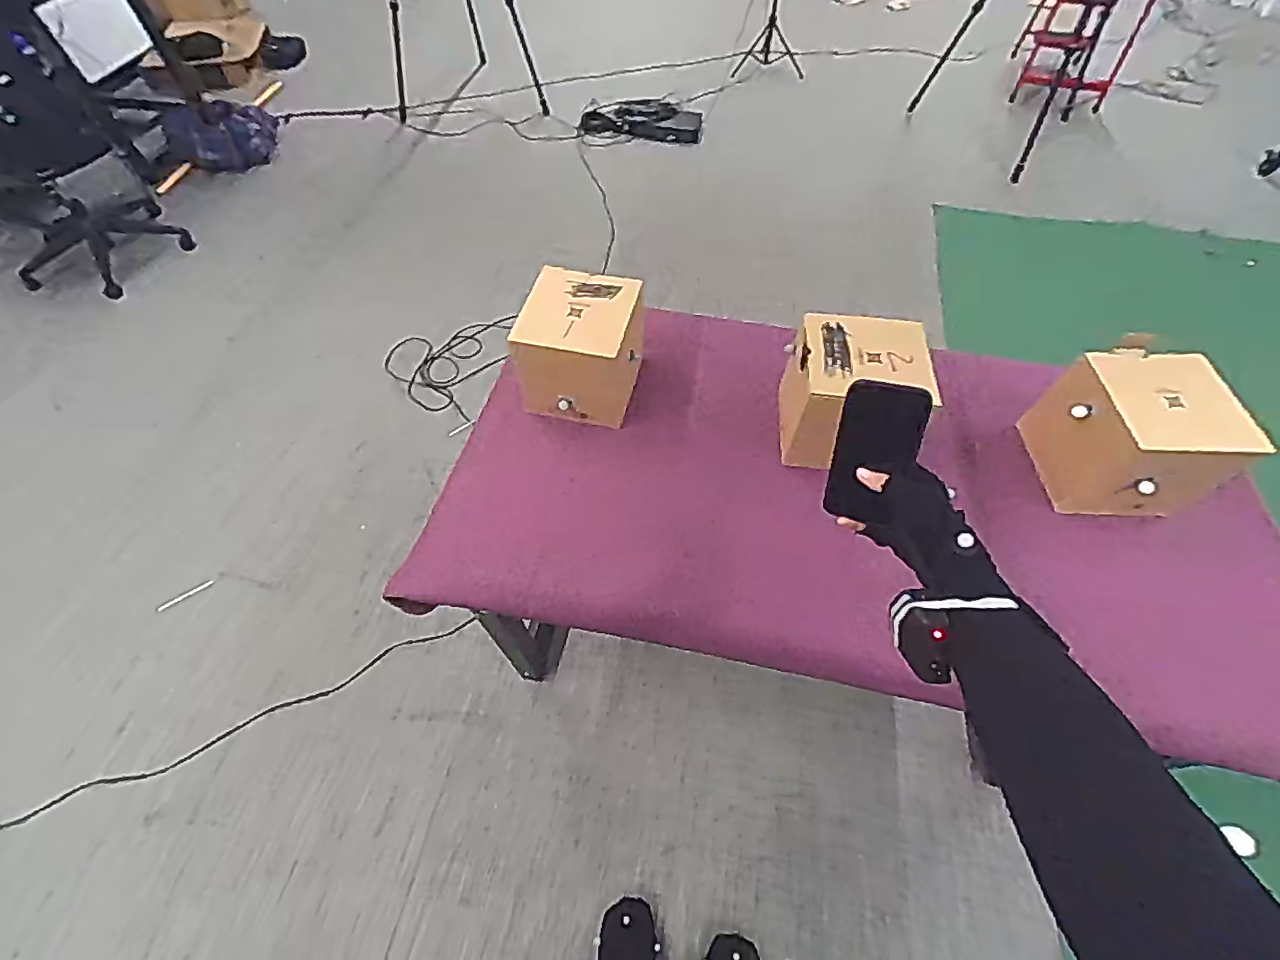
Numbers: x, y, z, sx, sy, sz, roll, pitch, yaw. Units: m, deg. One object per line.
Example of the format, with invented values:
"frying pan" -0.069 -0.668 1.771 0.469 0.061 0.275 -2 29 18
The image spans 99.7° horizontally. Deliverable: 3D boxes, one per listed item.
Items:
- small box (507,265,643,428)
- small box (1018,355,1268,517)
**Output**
"small box" -0.096 -0.213 0.877 0.168 0.176 0.179 11 59 7
"small box" 0.698 -0.059 0.781 0.168 0.176 0.179 1 56 1
